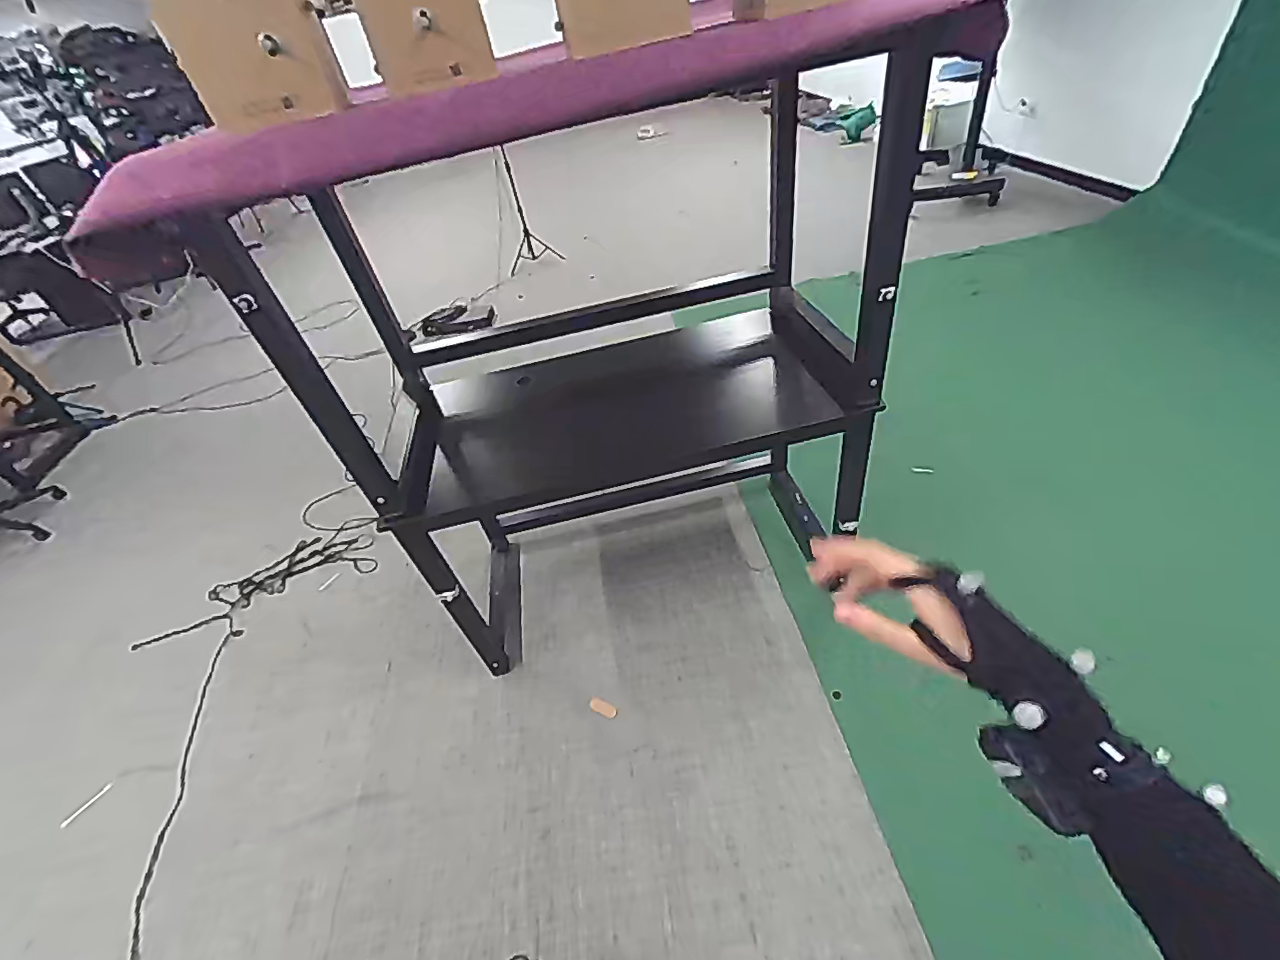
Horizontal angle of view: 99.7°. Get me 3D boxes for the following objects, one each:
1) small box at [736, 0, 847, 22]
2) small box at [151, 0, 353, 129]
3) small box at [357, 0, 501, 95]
[{"bbox_3d":[0.240,-0.799,0.789,0.179,0.176,0.168,-14,42,0],"label":"small box"},{"bbox_3d":[-0.544,-0.626,0.784,0.168,0.176,0.179,-16,41,-6],"label":"small box"},{"bbox_3d":[-0.312,-0.688,0.799,0.168,0.176,0.179,-16,41,-5],"label":"small box"}]
